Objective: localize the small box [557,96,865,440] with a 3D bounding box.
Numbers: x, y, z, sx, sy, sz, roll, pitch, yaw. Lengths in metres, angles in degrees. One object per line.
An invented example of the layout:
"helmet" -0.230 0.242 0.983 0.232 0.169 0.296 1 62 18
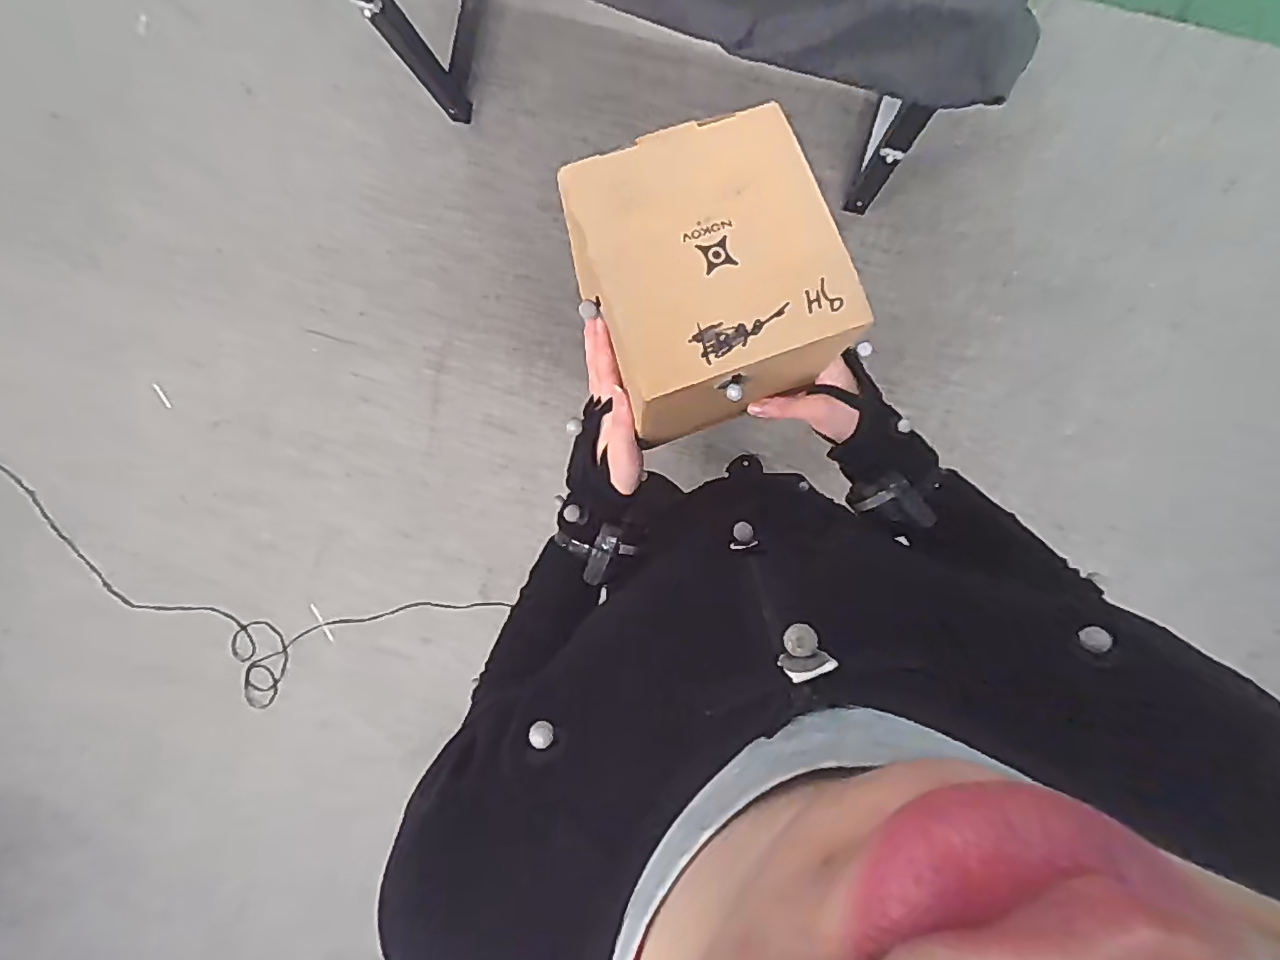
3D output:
"small box" 0.044 -0.152 0.442 0.168 0.176 0.179 -20 83 -3
